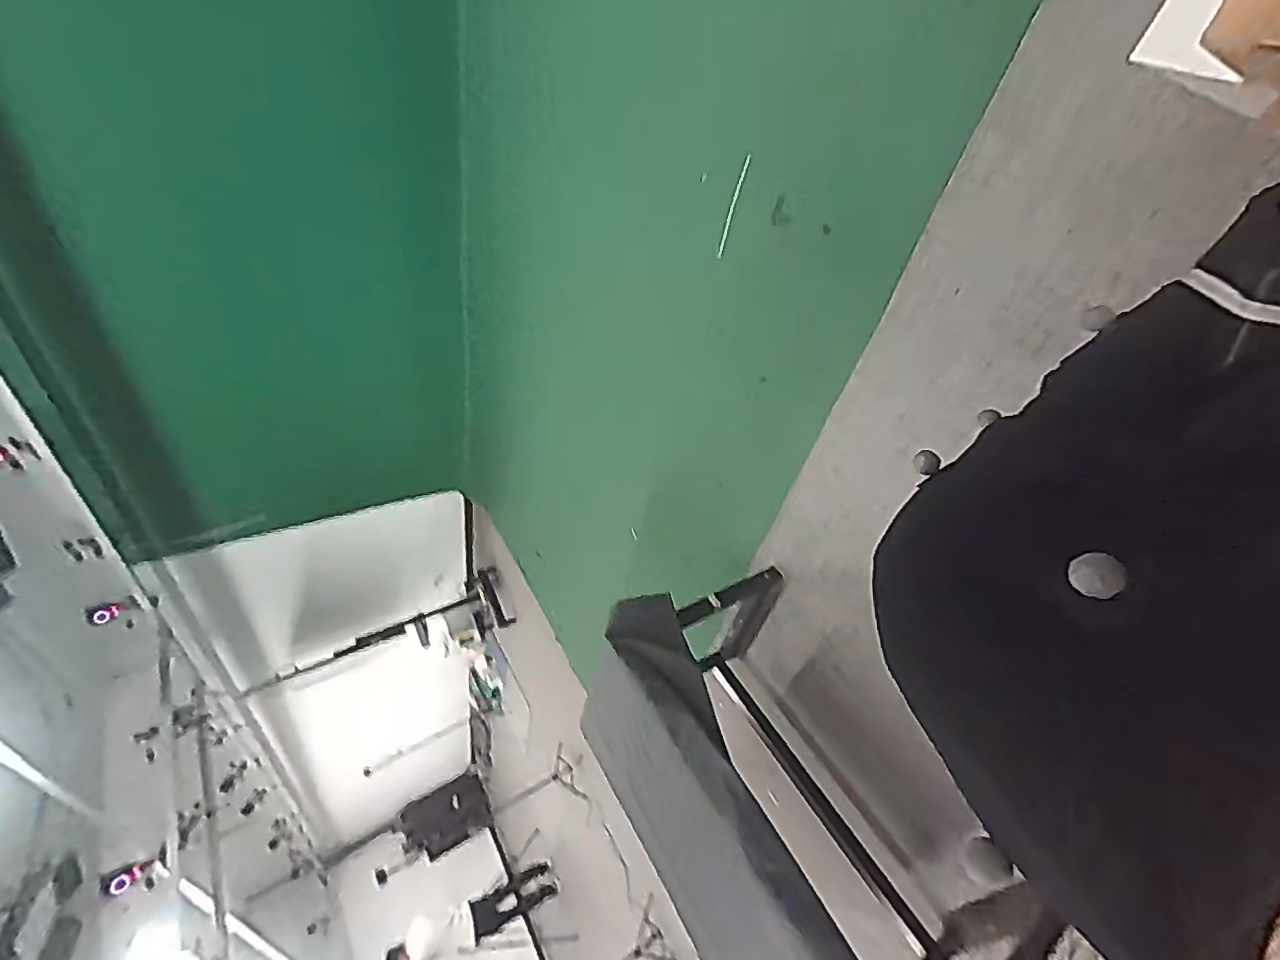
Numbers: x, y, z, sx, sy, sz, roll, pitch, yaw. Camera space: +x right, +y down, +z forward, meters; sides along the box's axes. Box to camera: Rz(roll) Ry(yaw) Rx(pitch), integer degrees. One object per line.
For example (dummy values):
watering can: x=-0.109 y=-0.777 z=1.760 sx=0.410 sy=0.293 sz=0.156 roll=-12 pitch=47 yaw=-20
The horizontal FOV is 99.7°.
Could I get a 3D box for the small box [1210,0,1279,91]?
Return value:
small box: x=0.539 y=-0.358 z=0.342 sx=0.168 sy=0.176 sz=0.179 roll=45 pitch=138 yaw=37
